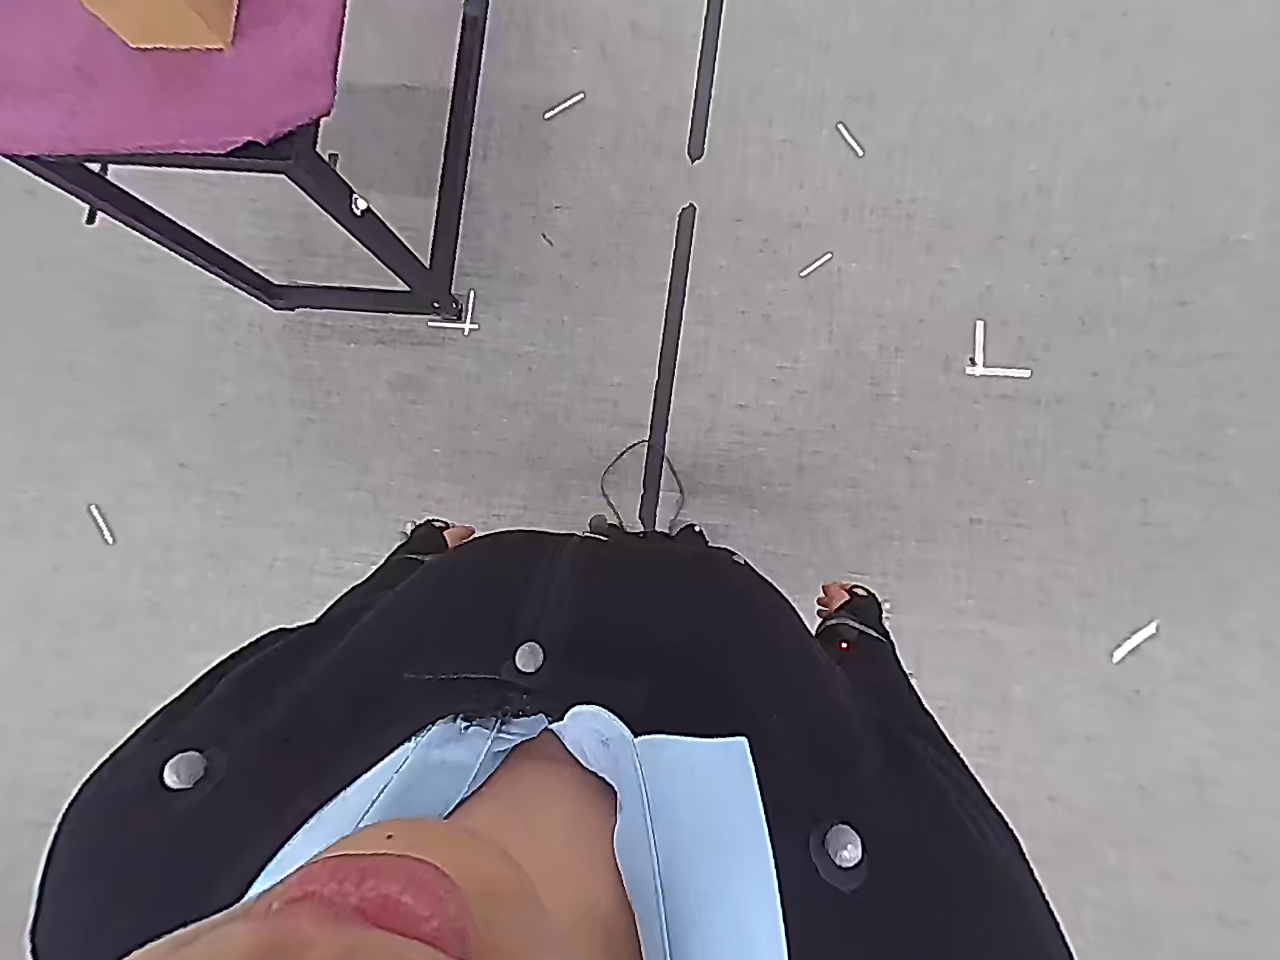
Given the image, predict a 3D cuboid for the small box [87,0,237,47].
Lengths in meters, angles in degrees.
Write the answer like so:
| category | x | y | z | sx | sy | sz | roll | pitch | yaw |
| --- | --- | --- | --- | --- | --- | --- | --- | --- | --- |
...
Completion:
| category | x | y | z | sx | sy | sz | roll | pitch | yaw |
| --- | --- | --- | --- | --- | --- | --- | --- | --- | --- |
| small box | -0.756 | -0.800 | 0.817 | 0.179 | 0.176 | 0.168 | 3 | 84 | 3 |
